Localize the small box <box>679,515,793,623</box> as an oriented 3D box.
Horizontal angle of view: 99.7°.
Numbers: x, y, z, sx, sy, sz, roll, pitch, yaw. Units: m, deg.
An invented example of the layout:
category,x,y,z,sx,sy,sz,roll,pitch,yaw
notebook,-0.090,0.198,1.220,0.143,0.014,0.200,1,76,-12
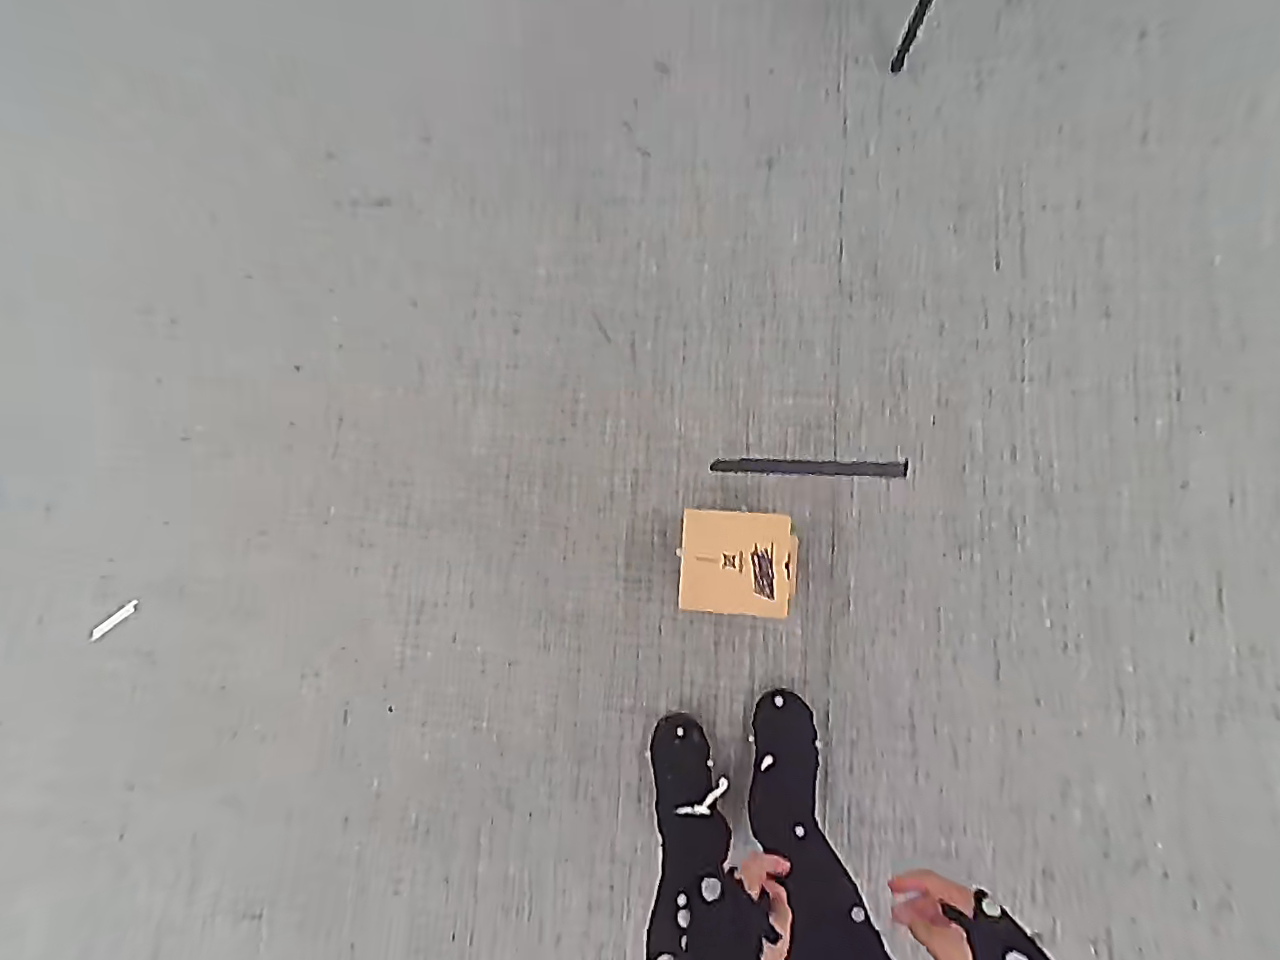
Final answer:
category,x,y,z,sx,sy,sz,roll,pitch,yaw
small box,0.168,0.151,0.961,0.179,0.176,0.168,3,84,10
